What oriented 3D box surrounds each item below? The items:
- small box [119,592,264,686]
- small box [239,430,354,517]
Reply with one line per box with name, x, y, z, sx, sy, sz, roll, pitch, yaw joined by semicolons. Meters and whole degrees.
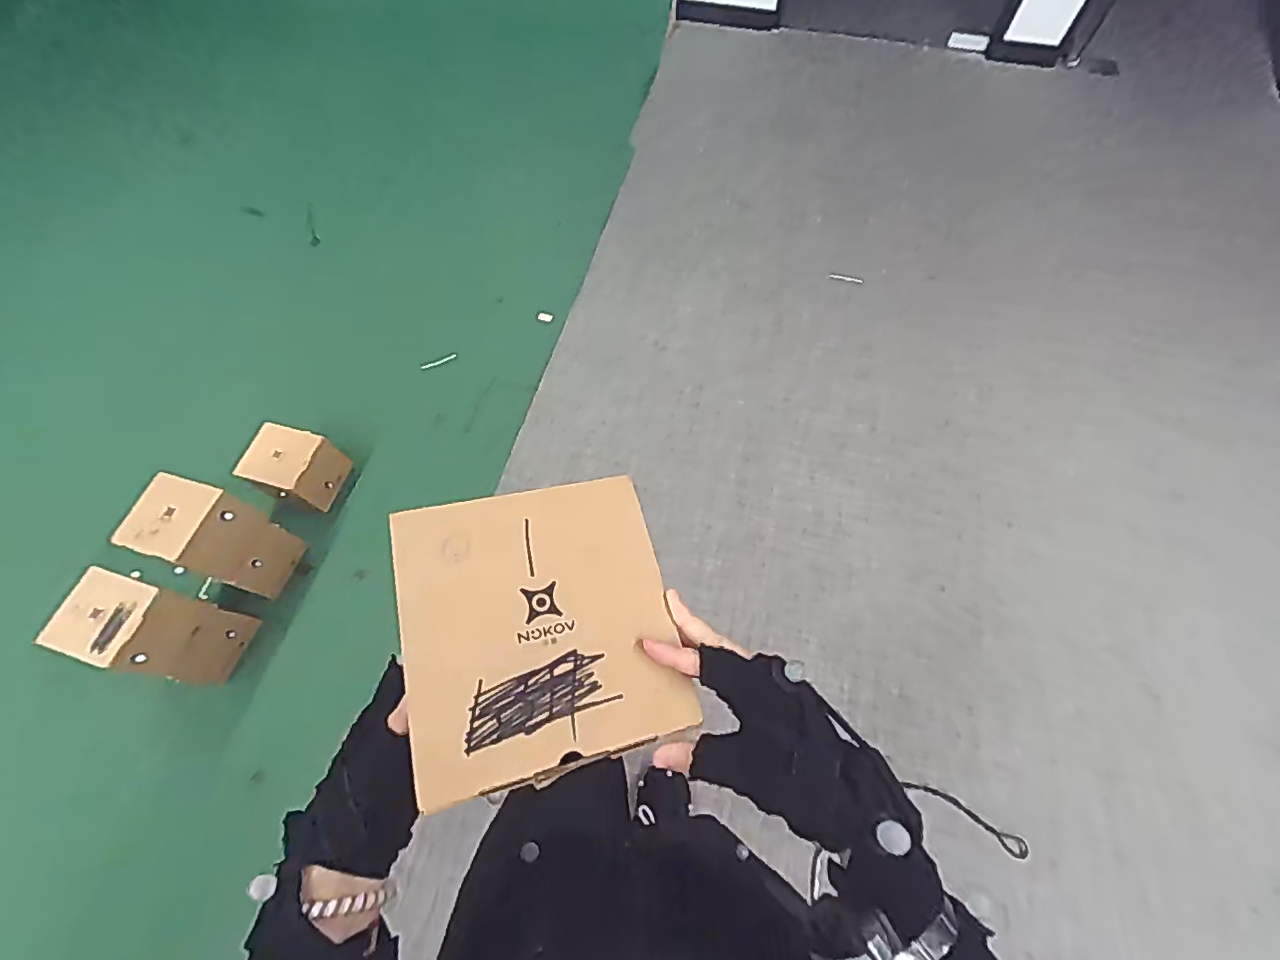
small box;-1.075;0.393;1.316;0.179;0.176;0.168;17;67;9
small box;-0.943;-0.013;1.501;0.179;0.176;0.168;13;66;6
